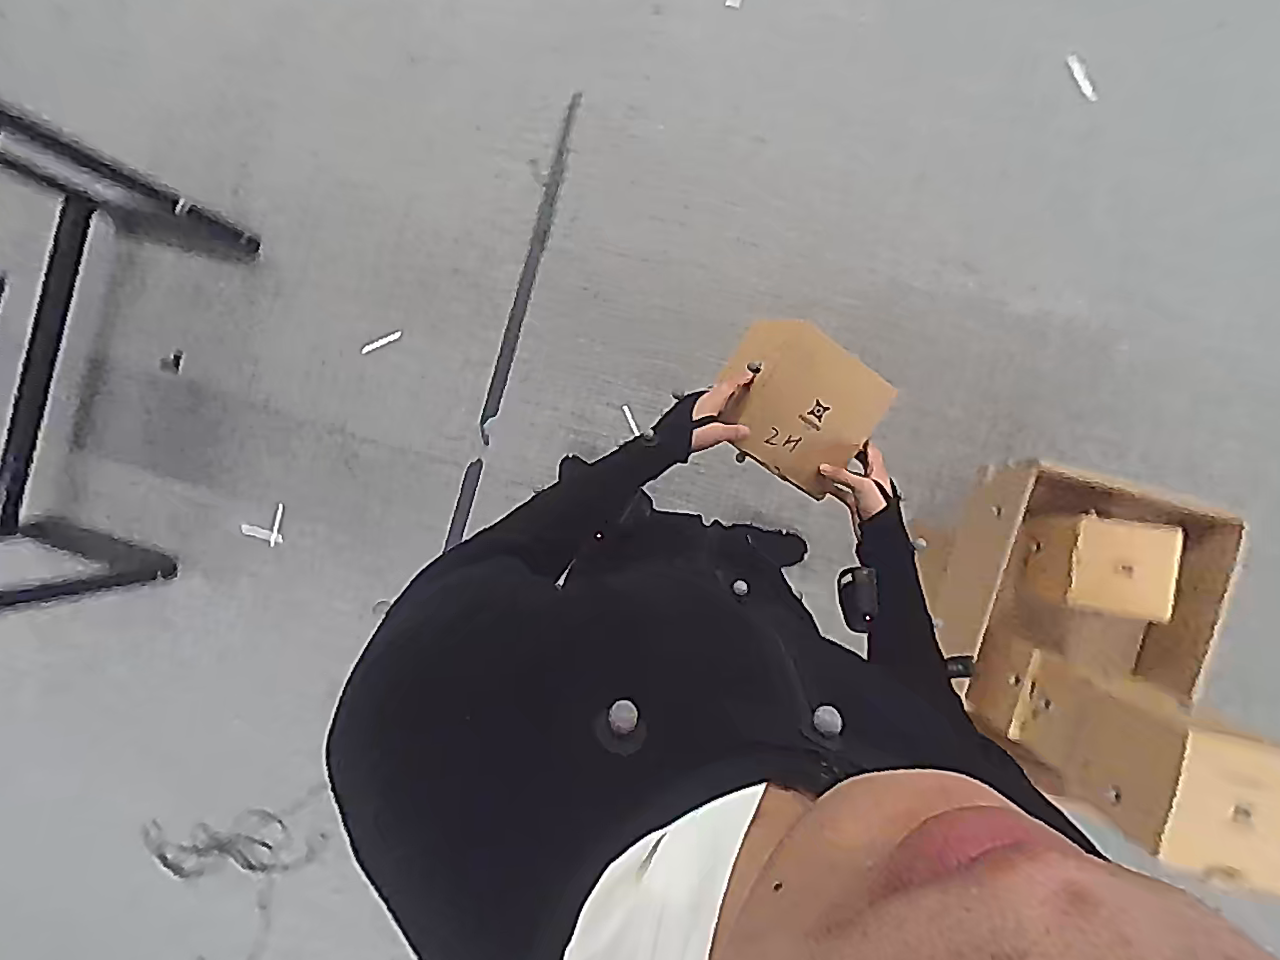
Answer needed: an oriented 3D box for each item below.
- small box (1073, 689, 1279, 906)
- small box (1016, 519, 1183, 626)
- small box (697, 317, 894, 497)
[{"bbox_3d":[0.747,0.419,0.742,0.168,0.176,0.179,14,91,5],"label":"small box"},{"bbox_3d":[0.887,0.171,1.060,0.179,0.176,0.168,9,90,6],"label":"small box"},{"bbox_3d":[0.201,-0.108,0.755,0.168,0.176,0.179,30,99,-15],"label":"small box"}]
